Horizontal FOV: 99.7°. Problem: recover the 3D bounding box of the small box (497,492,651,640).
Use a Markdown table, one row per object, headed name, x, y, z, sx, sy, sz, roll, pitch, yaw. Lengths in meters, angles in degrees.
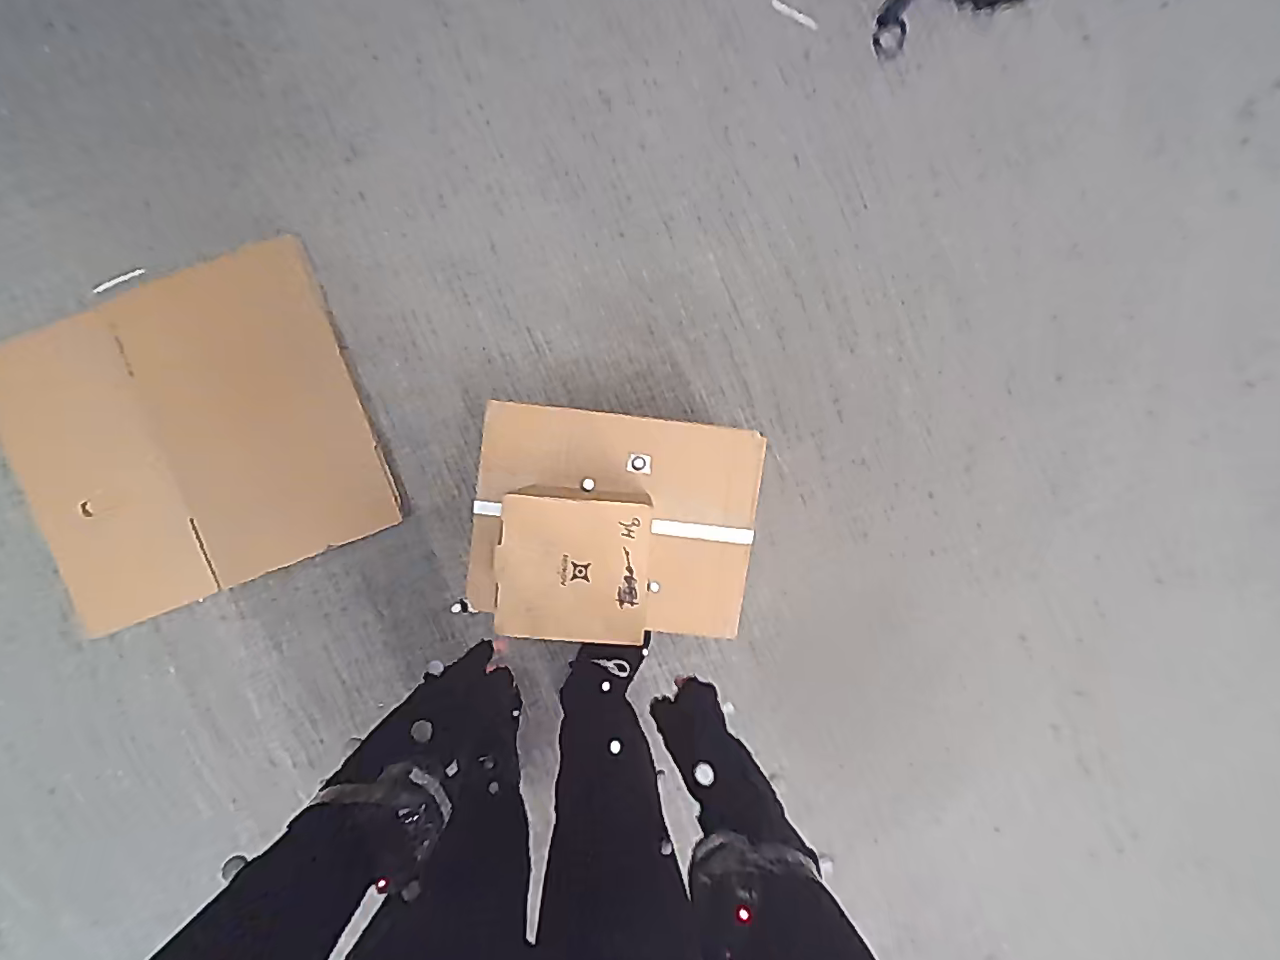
| name | x | y | z | sx | sy | sz | roll | pitch | yaw |
| --- | --- | --- | --- | --- | --- | --- | --- | --- | --- |
| small box | -0.077 | 0.102 | 0.709 | 0.179 | 0.176 | 0.168 | 2 | 90 | -1 |
